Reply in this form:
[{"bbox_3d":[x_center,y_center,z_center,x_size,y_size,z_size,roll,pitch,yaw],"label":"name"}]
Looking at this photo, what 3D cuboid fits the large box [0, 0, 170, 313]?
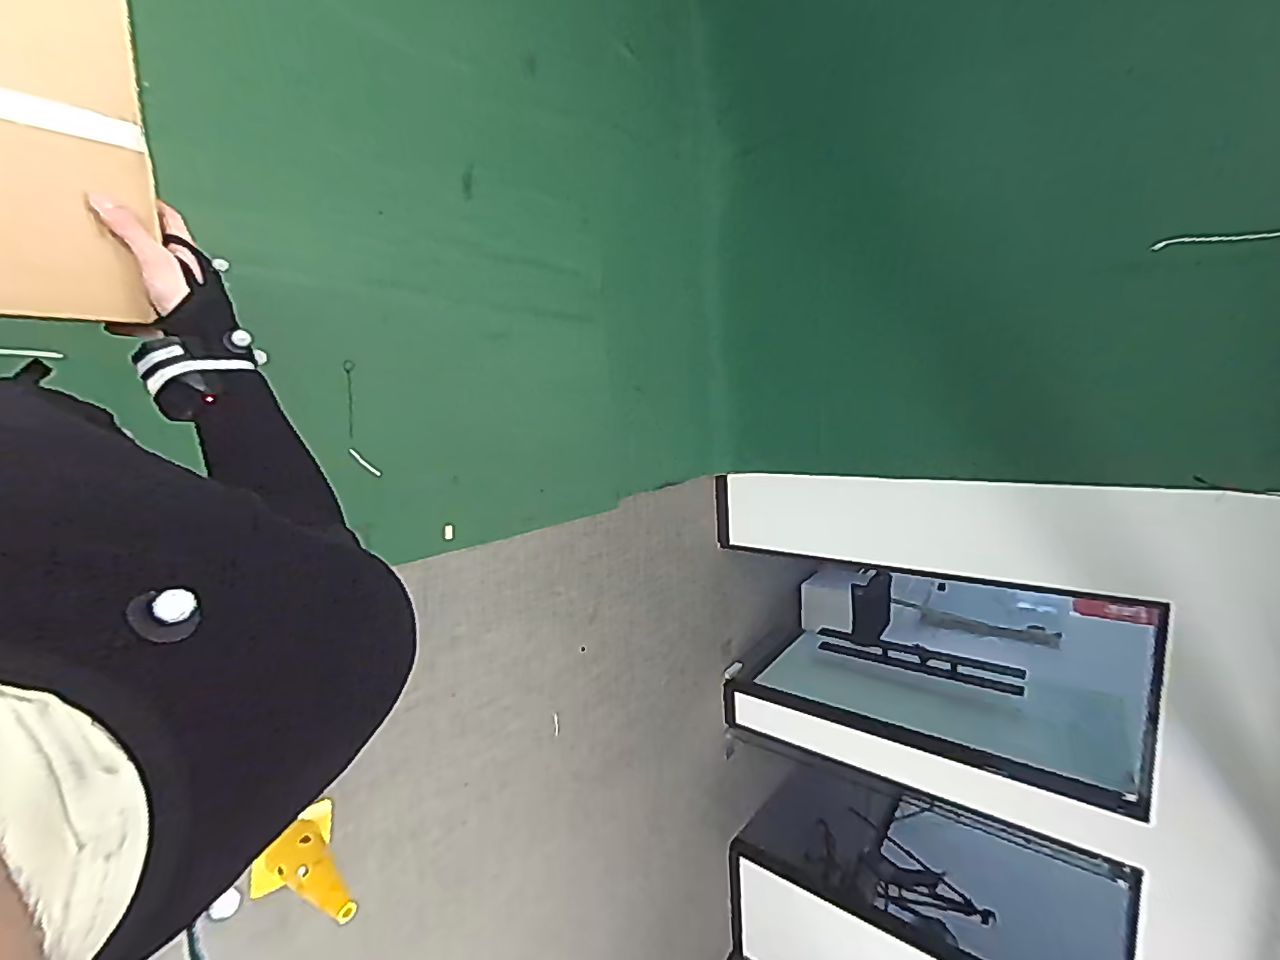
[{"bbox_3d":[-0.687,-0.304,0.423,0.408,0.320,0.320,-14,113,-50],"label":"large box"}]
